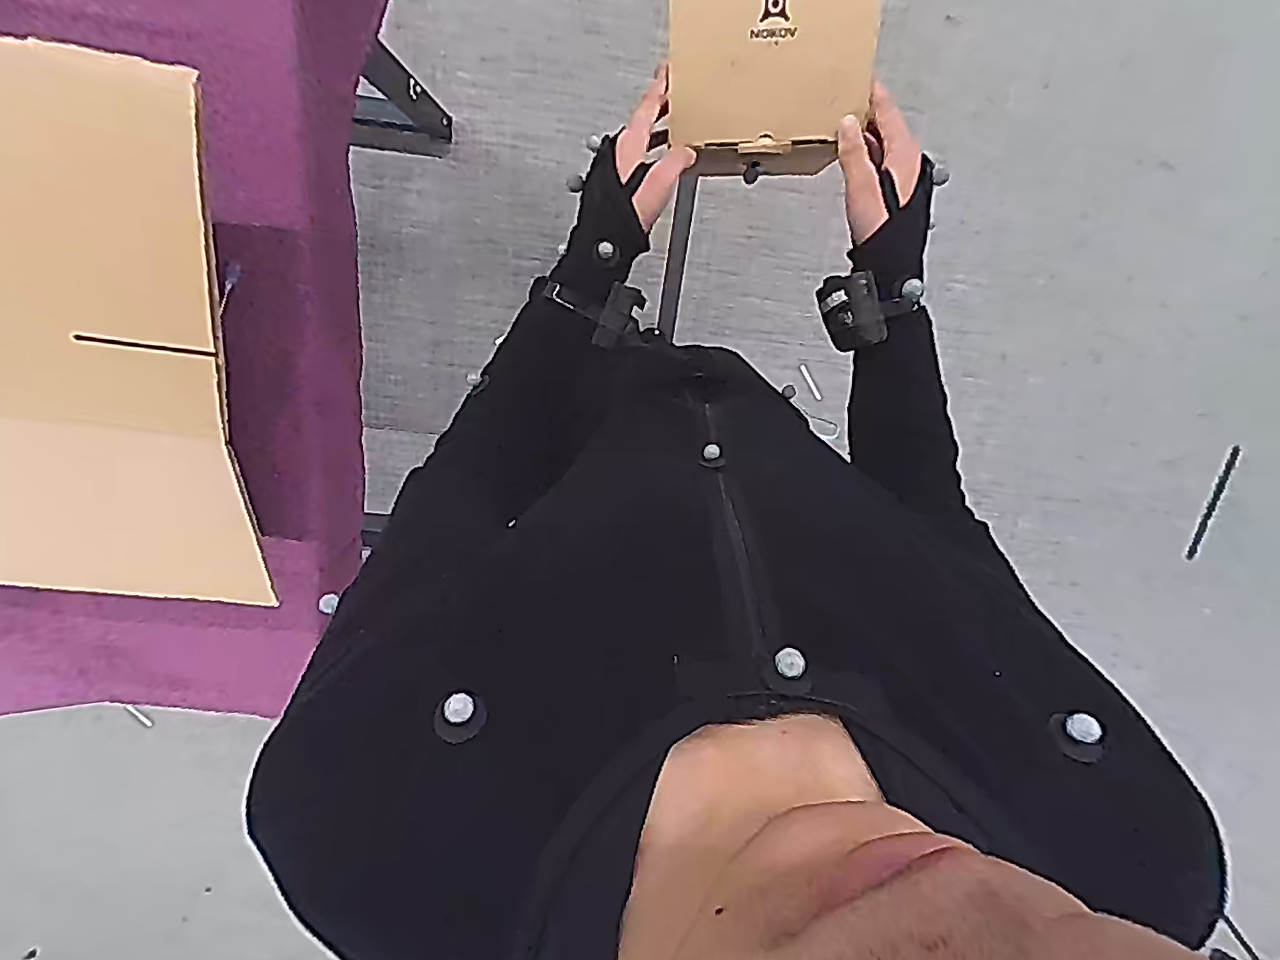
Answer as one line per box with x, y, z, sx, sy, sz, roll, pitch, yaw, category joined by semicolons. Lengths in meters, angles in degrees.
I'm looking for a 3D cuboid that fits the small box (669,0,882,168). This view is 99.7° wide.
0.113;-0.398;0.502;0.168;0.176;0.179;1;113;4;small box
